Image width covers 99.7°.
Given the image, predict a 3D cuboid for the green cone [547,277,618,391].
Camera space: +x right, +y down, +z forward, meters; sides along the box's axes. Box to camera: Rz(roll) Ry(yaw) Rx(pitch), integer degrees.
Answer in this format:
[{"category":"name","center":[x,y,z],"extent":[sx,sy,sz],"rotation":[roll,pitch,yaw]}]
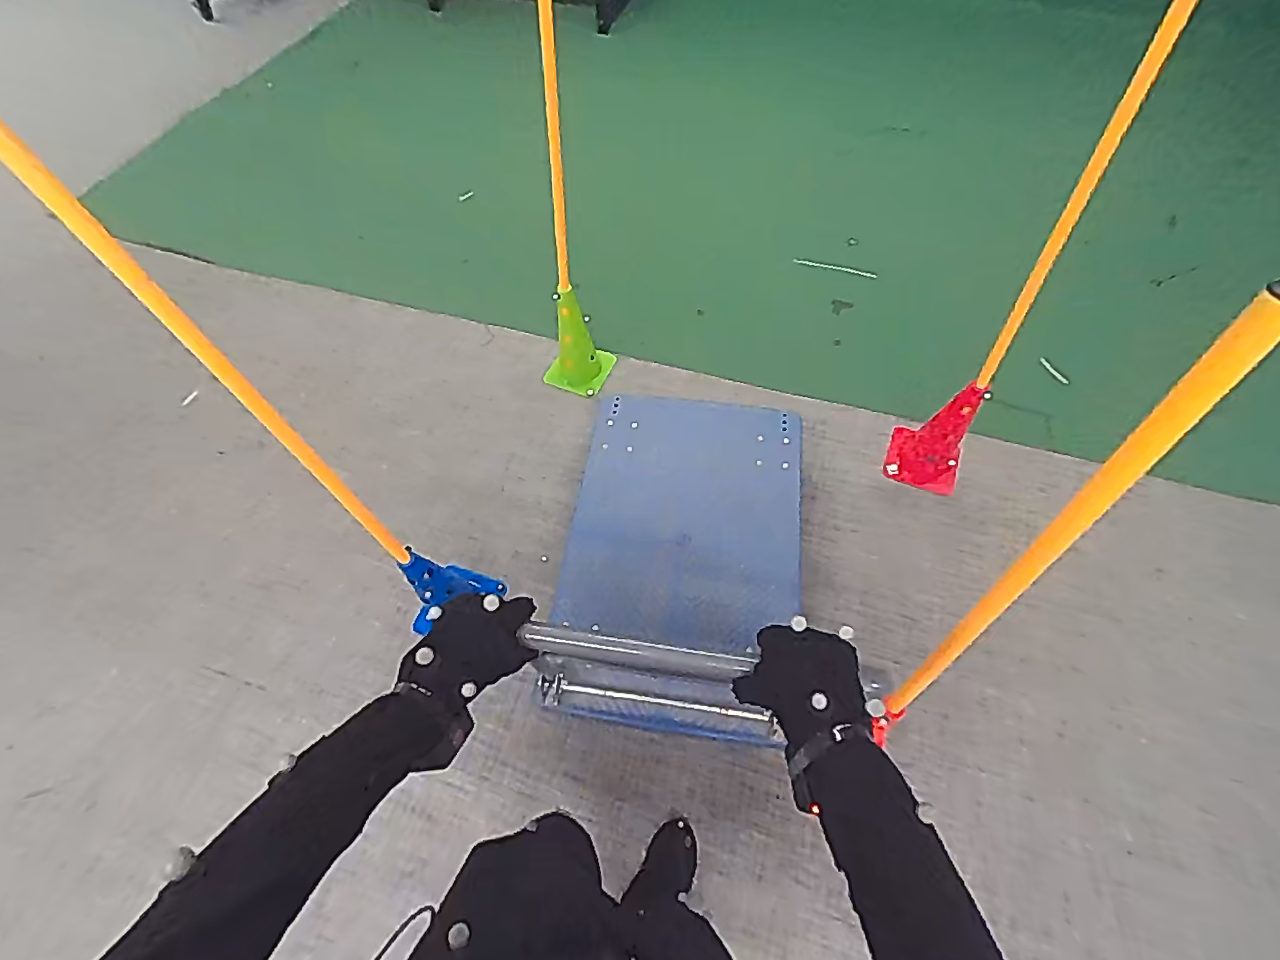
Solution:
[{"category":"green cone","center":[-0.207,-0.490,1.726],"extent":[0.202,0.368,0.200],"rotation":[20,63,14]}]

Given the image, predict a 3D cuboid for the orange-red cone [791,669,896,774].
[{"category":"orange-red cone","center":[0.465,0.491,1.153],"extent":[0.199,0.360,0.198],"rotation":[15,62,12]}]
